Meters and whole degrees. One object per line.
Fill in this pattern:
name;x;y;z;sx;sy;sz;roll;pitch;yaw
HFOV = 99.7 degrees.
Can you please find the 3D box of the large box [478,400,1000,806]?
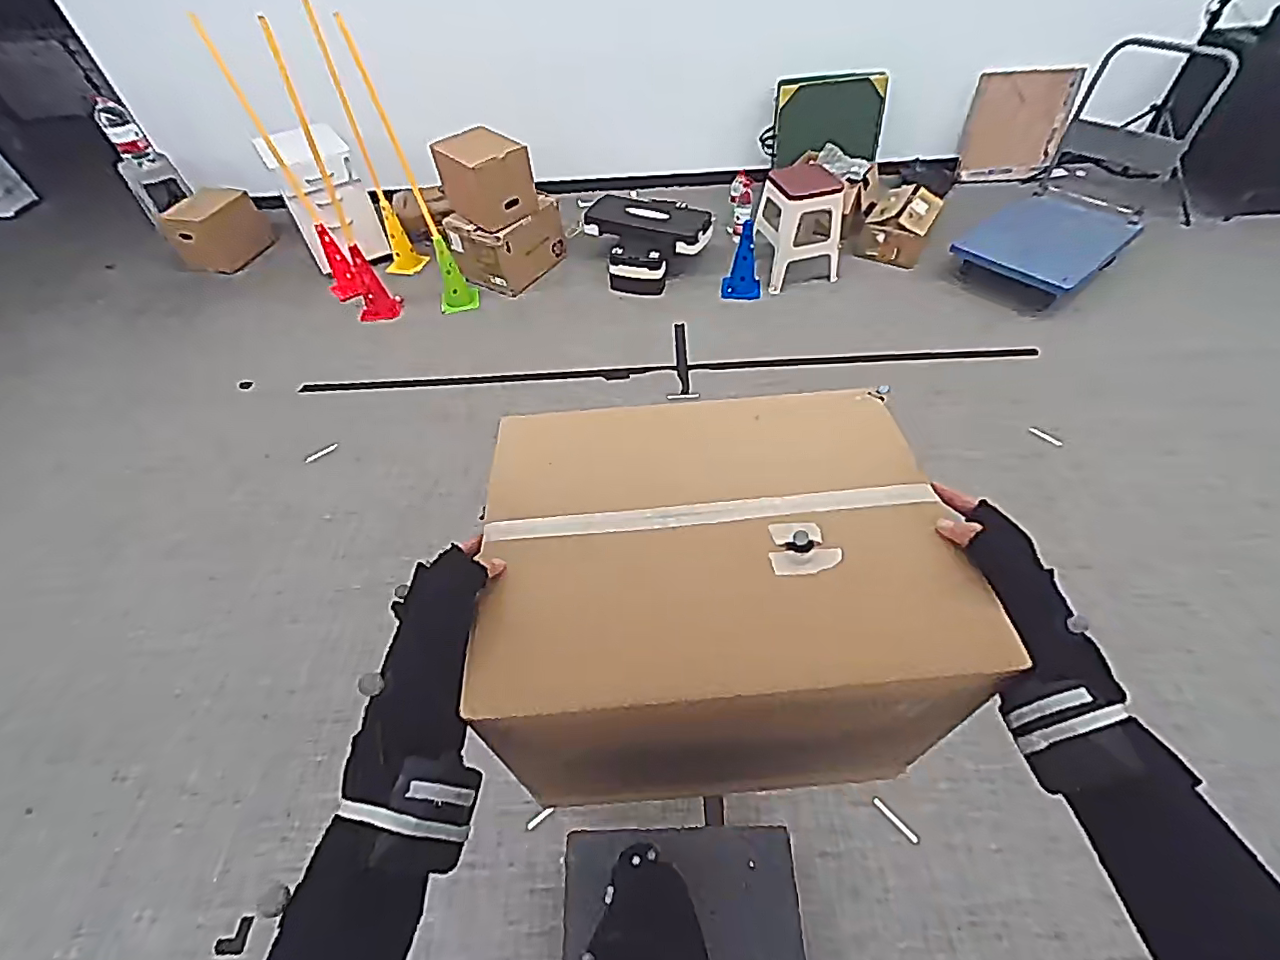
large box;0.069;0.140;0.608;0.408;0.320;0.320;-5;49;-1
